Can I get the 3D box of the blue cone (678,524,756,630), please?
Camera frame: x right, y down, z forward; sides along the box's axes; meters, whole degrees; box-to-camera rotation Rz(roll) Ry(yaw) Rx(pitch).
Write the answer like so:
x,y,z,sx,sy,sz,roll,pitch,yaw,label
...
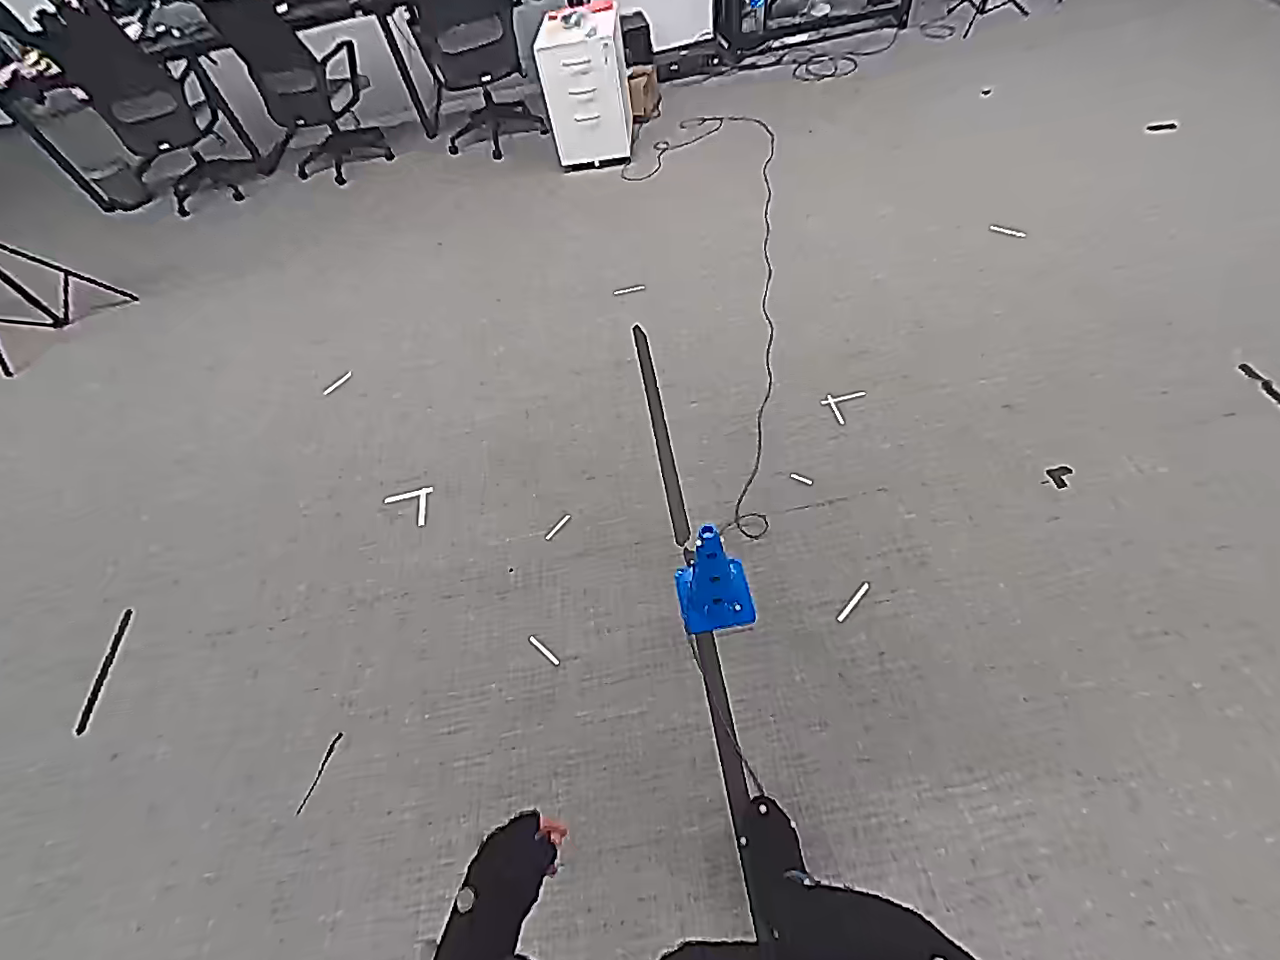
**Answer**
x,y,z,sx,sy,sz,roll,pitch,yaw,label
0.187,0.215,1.376,0.193,0.380,0.192,-12,53,1,blue cone
